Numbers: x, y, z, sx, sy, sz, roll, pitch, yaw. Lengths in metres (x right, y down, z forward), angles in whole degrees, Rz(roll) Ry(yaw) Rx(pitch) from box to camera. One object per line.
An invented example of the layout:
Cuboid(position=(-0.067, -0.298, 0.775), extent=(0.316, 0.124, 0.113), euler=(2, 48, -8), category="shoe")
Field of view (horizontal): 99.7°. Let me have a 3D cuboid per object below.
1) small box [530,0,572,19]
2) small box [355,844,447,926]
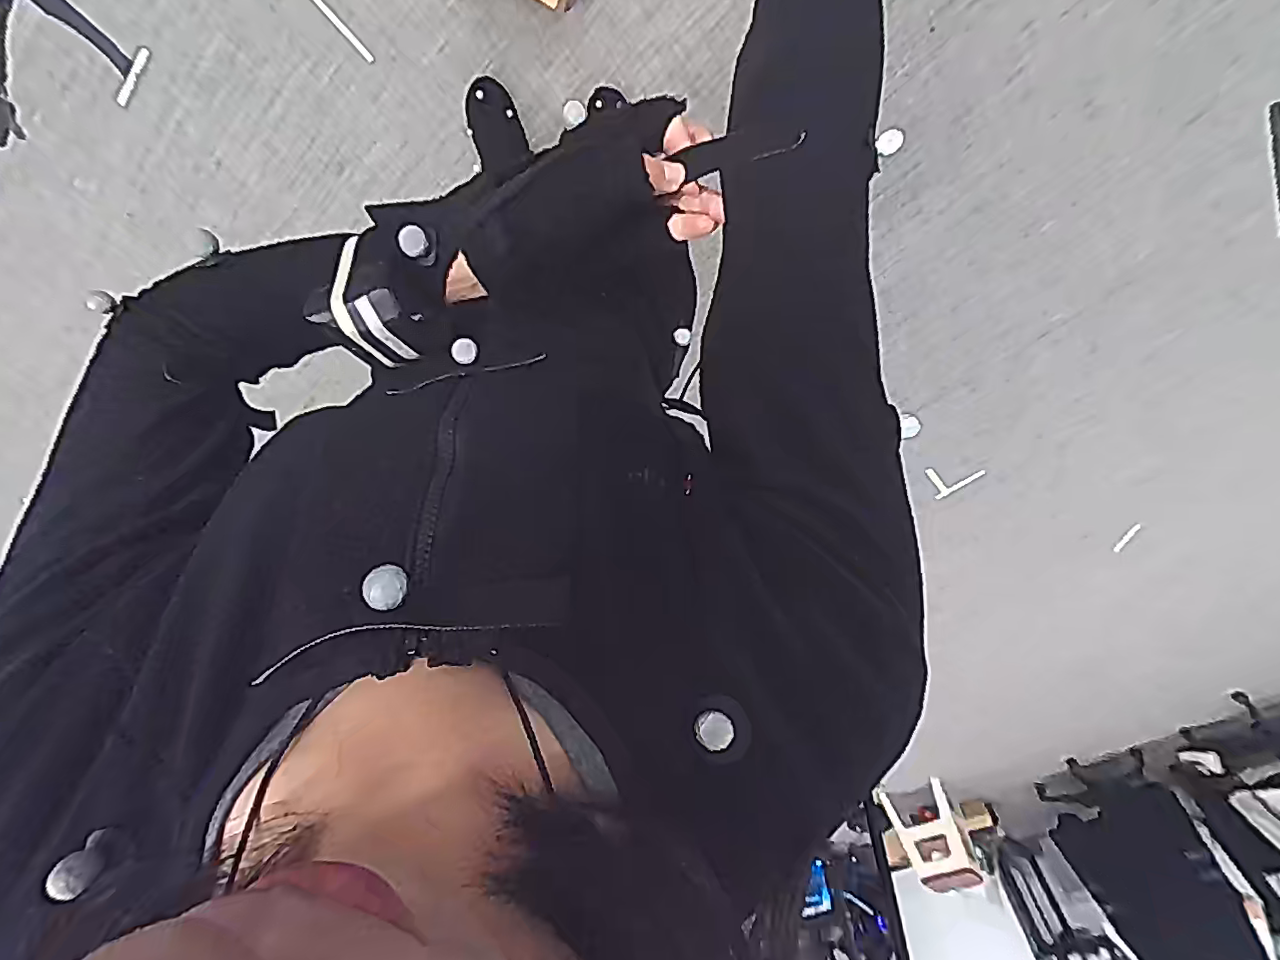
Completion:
Cuboid(position=(-0.177, -0.938, 0.924), extent=(0.168, 0.176, 0.179), euler=(21, 125, -17), category="small box")
Cuboid(position=(-0.735, 1.255, 1.681), extent=(0.168, 0.176, 0.179), euler=(-31, 125, 23), category="small box")
